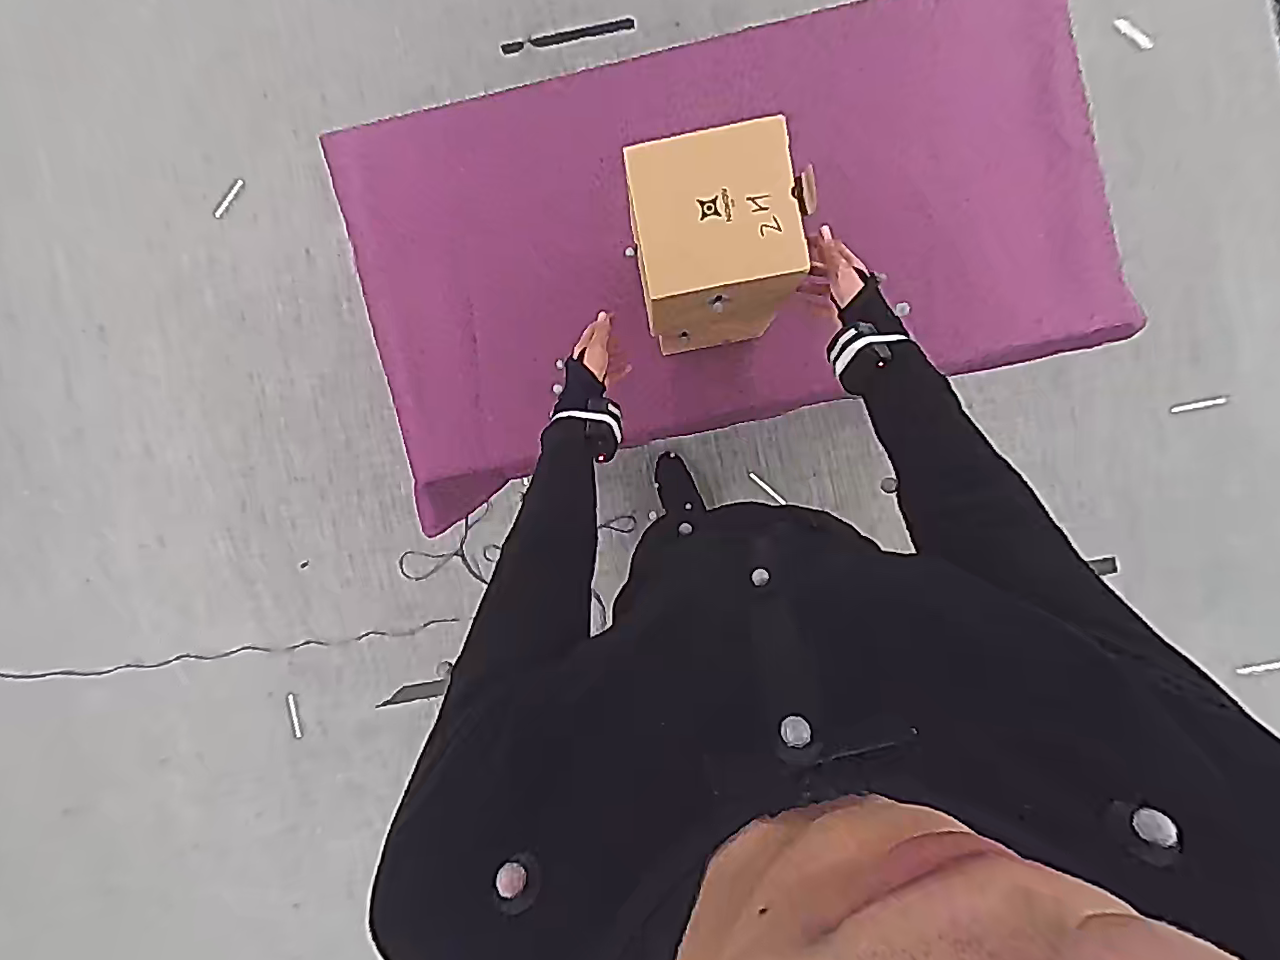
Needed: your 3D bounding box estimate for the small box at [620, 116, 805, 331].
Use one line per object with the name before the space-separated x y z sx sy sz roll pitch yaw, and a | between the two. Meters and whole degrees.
small box | 0.080 -0.290 0.652 0.179 0.176 0.168 -10 91 2
